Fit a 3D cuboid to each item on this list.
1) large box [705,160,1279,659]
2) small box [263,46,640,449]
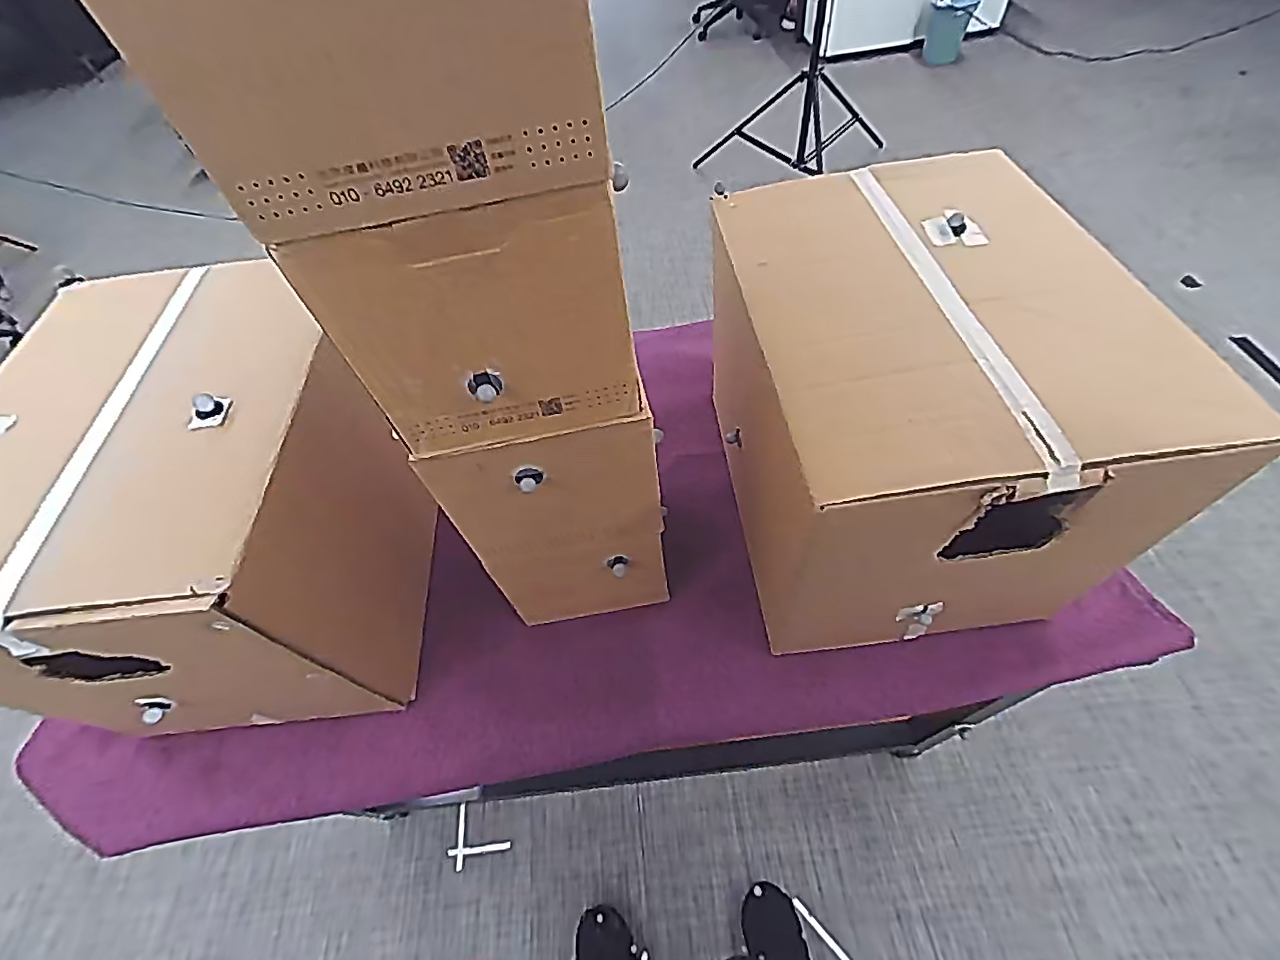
[{"bbox_3d":[0.261,-0.072,0.580,0.320,0.320,0.408,-8,53,1],"label":"large box"},{"bbox_3d":[-0.099,-0.148,0.360,0.168,0.176,0.179,-12,55,-2],"label":"small box"}]
